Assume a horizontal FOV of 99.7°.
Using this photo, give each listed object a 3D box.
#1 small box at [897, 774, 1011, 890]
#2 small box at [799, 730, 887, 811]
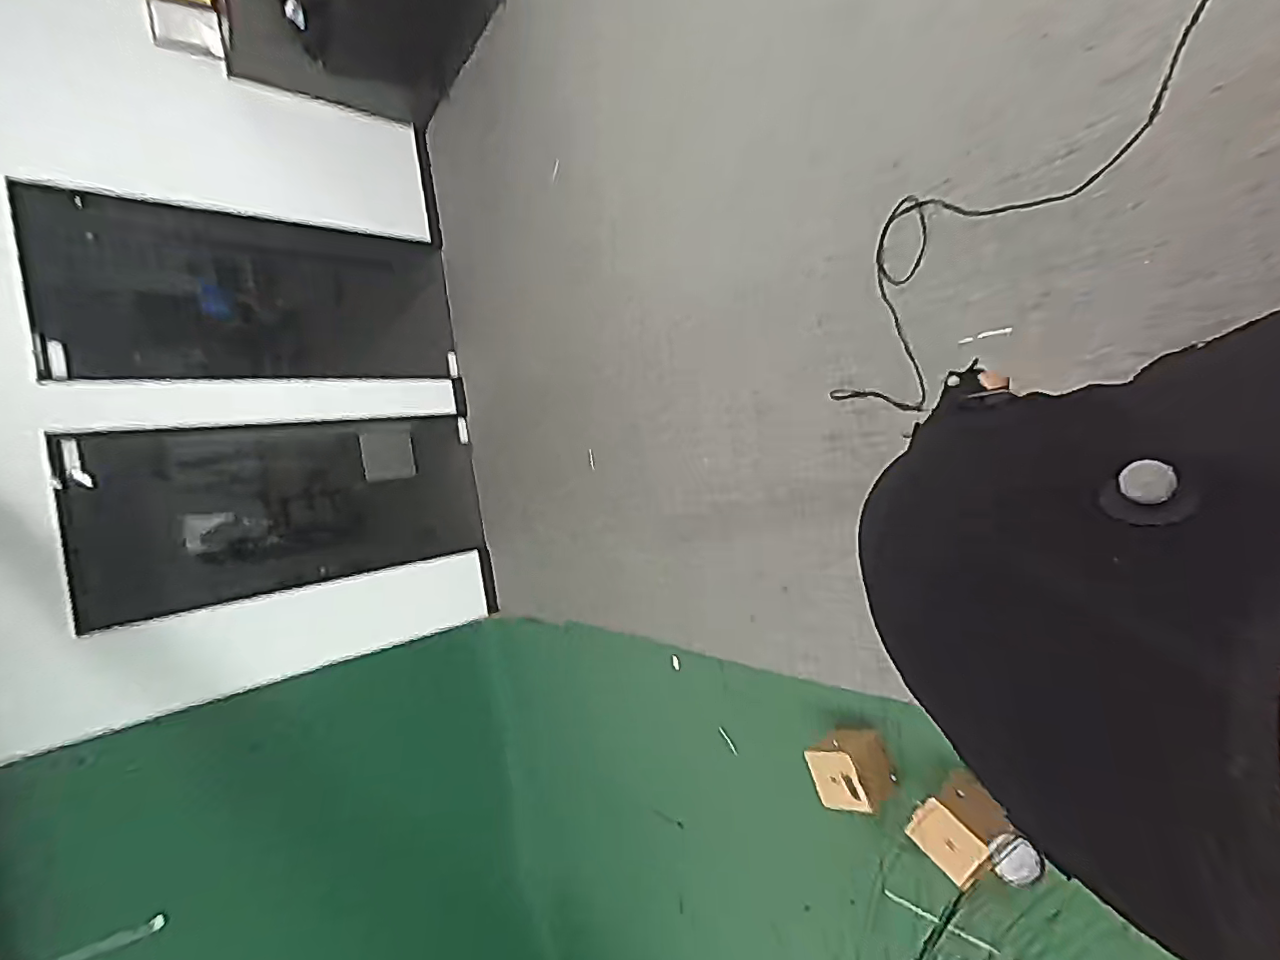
[{"bbox_3d":[0.827,0.912,1.426,0.179,0.176,0.168,39,126,38],"label":"small box"},{"bbox_3d":[0.629,0.882,1.659,0.179,0.176,0.168,-32,72,49],"label":"small box"}]
